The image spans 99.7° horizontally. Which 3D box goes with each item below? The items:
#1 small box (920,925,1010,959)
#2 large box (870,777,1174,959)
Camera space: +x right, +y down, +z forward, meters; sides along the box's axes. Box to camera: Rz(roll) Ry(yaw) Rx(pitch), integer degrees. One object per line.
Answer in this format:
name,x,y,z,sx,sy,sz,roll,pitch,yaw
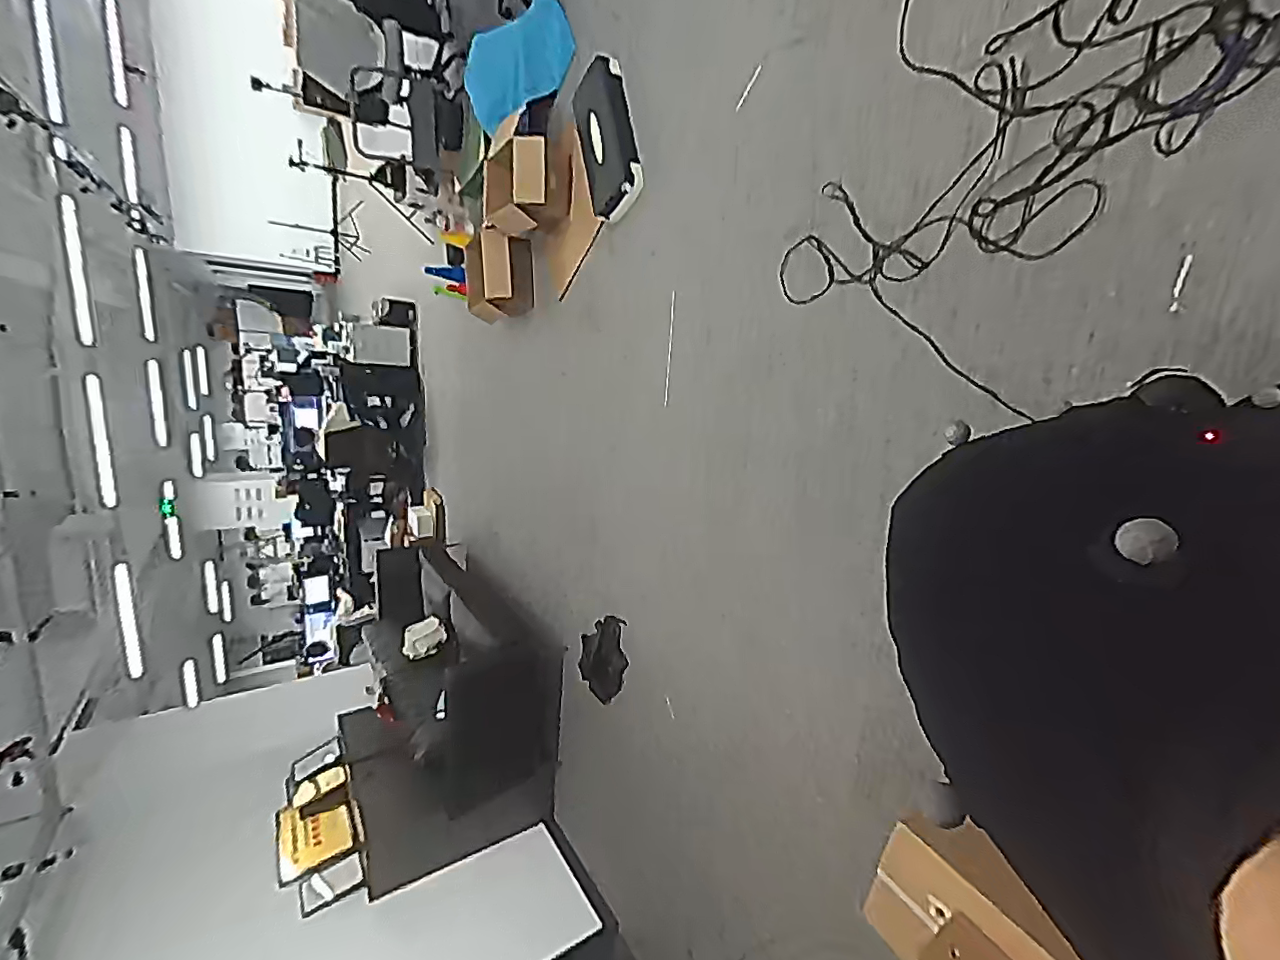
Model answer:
small box,0.618,0.978,0.997,0.179,0.176,0.168,32,121,49
large box,0.796,0.954,1.167,0.408,0.320,0.320,32,119,51
